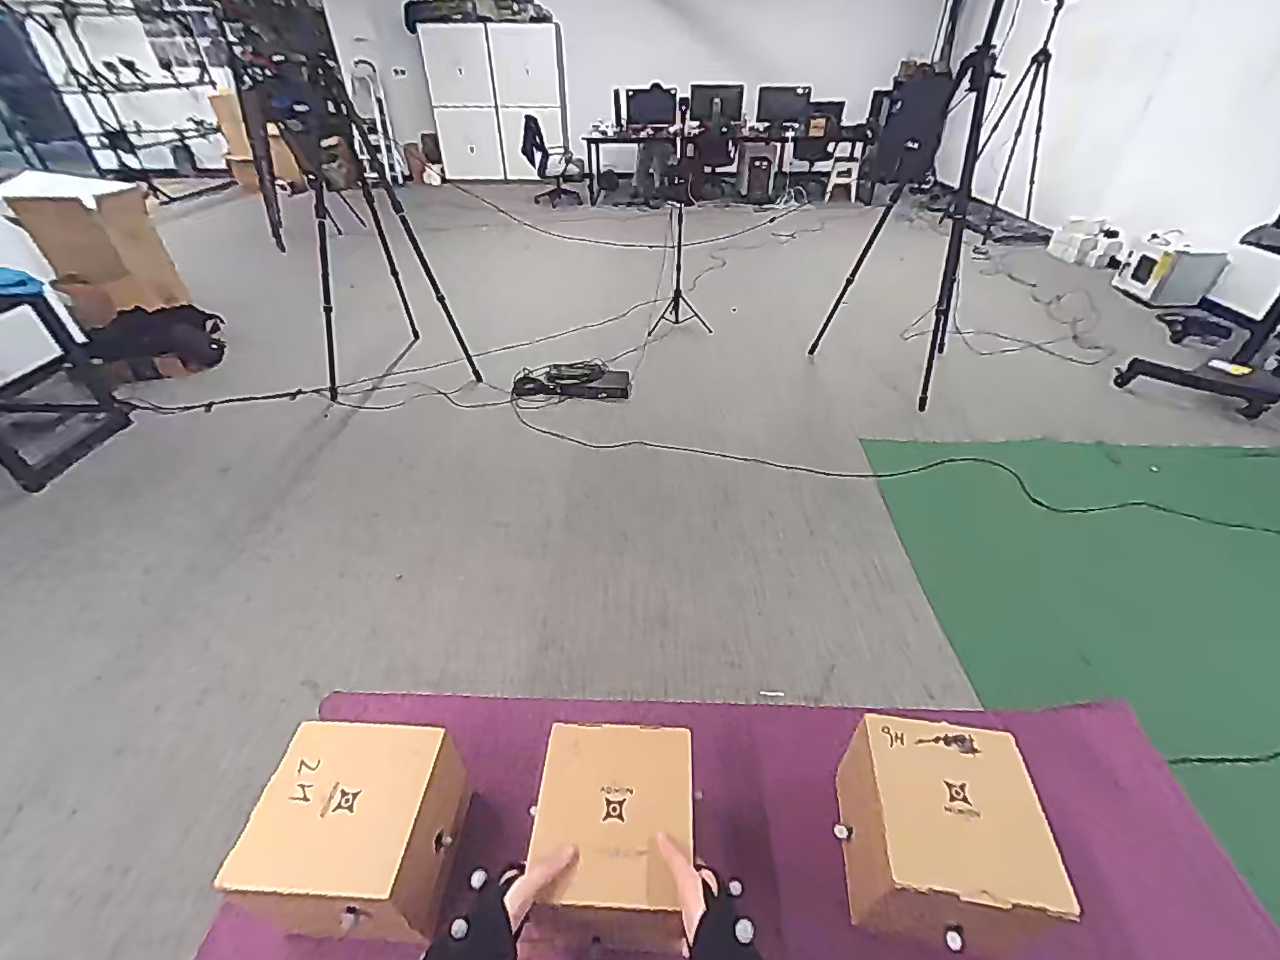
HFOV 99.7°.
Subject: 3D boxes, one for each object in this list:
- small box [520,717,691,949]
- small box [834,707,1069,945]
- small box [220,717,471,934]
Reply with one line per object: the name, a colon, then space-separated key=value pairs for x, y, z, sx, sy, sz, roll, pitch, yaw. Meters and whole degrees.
small box: x=-0.027 y=0.401 z=0.622 sx=0.168 sy=0.176 sz=0.179 roll=1 pitch=39 yaw=4
small box: x=0.329 y=0.393 z=0.617 sx=0.168 sy=0.176 sz=0.179 roll=6 pitch=40 yaw=8
small box: x=-0.315 y=0.400 z=0.628 sx=0.179 sy=0.176 sz=0.168 roll=1 pitch=38 yaw=3
